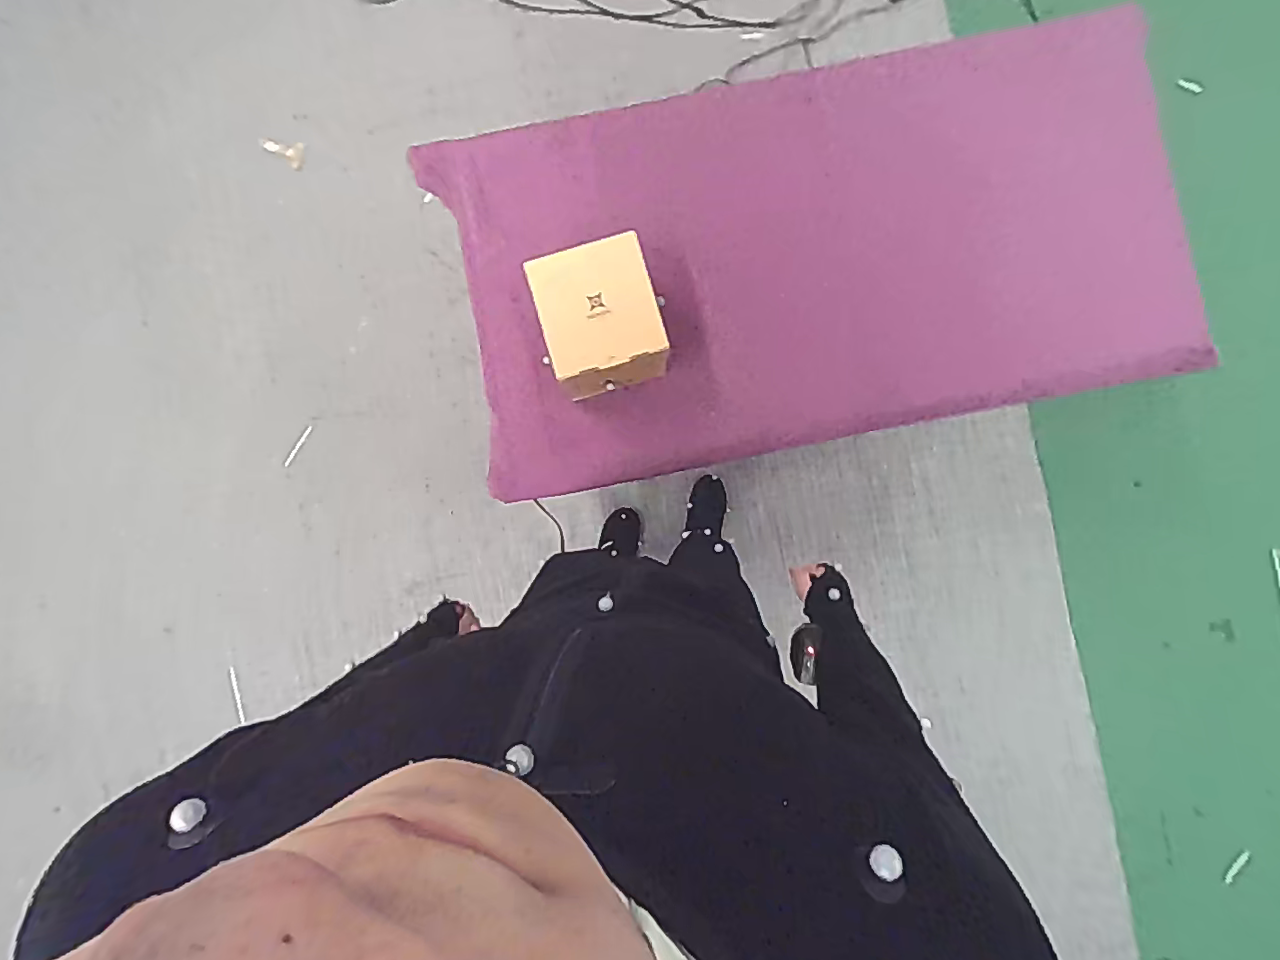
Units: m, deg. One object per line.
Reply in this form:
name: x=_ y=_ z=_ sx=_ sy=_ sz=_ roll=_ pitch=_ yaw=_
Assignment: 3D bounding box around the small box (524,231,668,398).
small box: x=-0.063 y=-0.241 z=0.830 sx=0.168 sy=0.176 sz=0.179 roll=-17 pitch=89 yaw=-1
